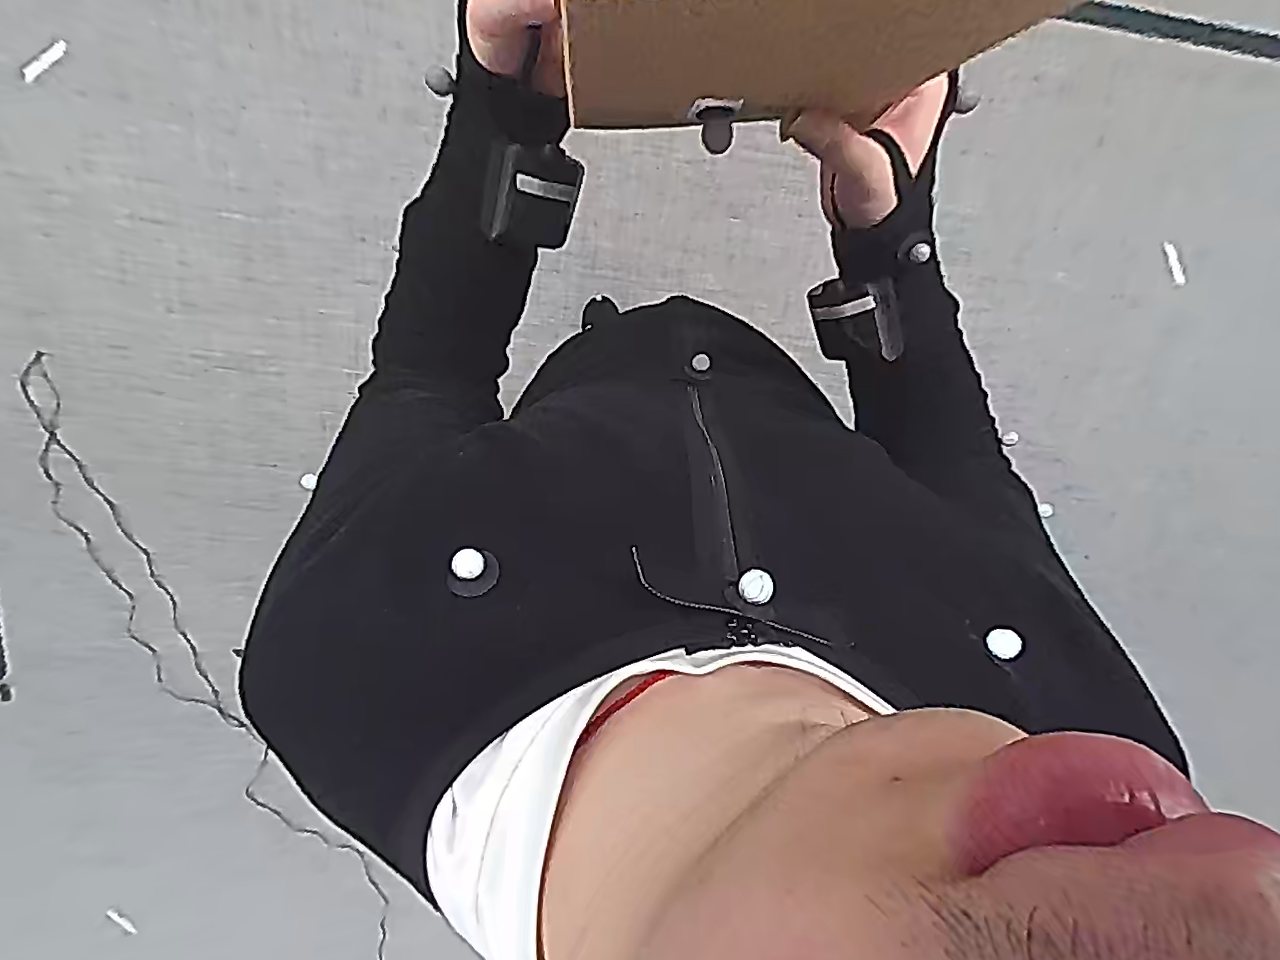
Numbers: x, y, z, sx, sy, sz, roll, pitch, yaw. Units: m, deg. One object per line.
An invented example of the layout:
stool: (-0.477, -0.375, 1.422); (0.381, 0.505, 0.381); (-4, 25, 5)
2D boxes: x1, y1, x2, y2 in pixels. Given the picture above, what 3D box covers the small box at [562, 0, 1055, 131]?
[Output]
small box: (0.047, -0.251, 0.196); (0.168, 0.176, 0.179); (-7, 113, -3)
